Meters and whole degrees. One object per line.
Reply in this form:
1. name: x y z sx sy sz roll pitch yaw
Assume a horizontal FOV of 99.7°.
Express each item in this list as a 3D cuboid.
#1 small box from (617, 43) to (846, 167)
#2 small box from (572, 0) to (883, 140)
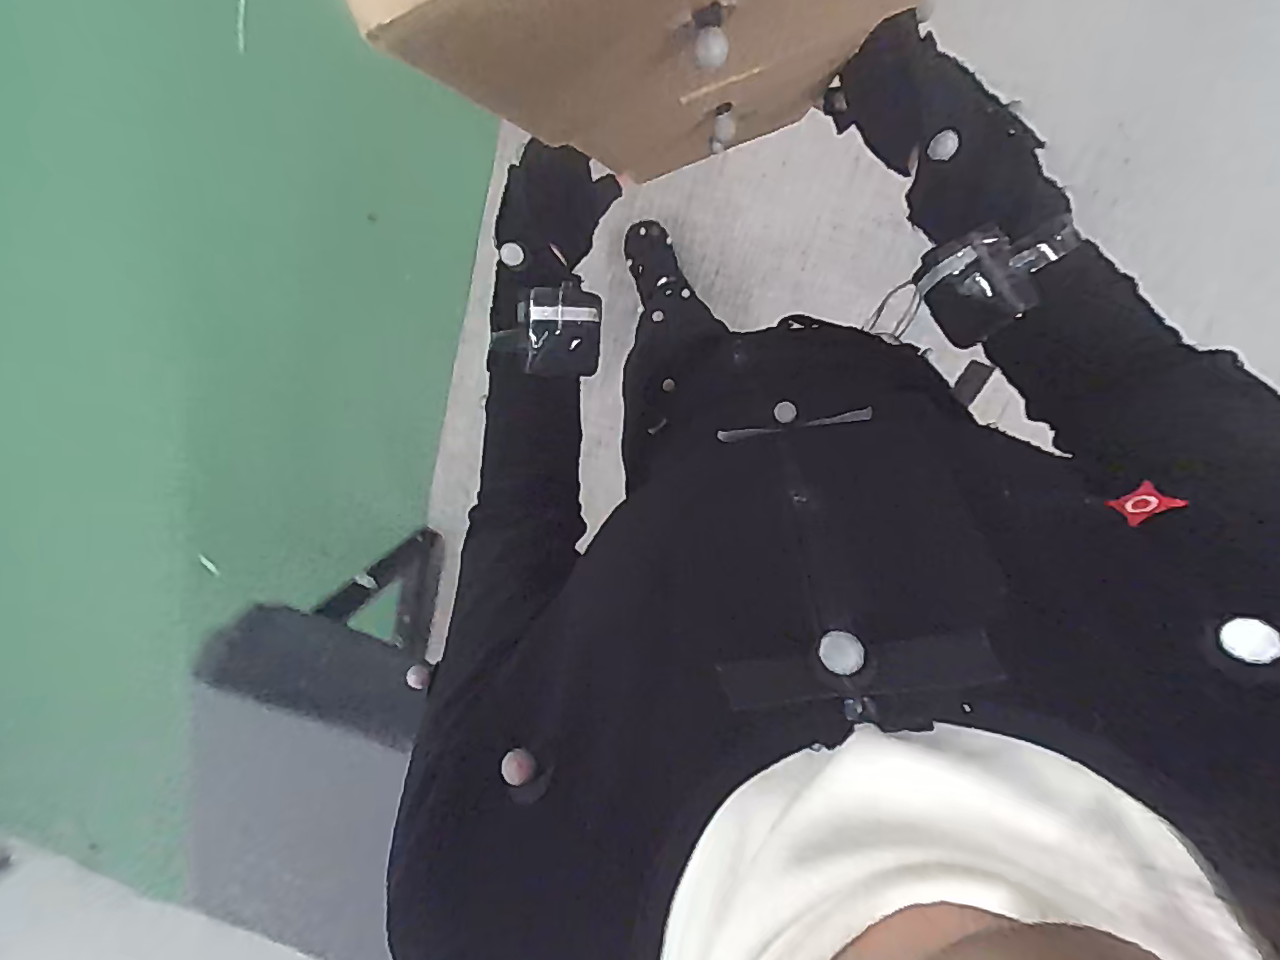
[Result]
1. small box: 0.051 -0.383 0.449 0.179 0.176 0.168 -15 112 12
2. small box: 0.028 -0.314 0.302 0.168 0.176 0.179 -13 112 13
